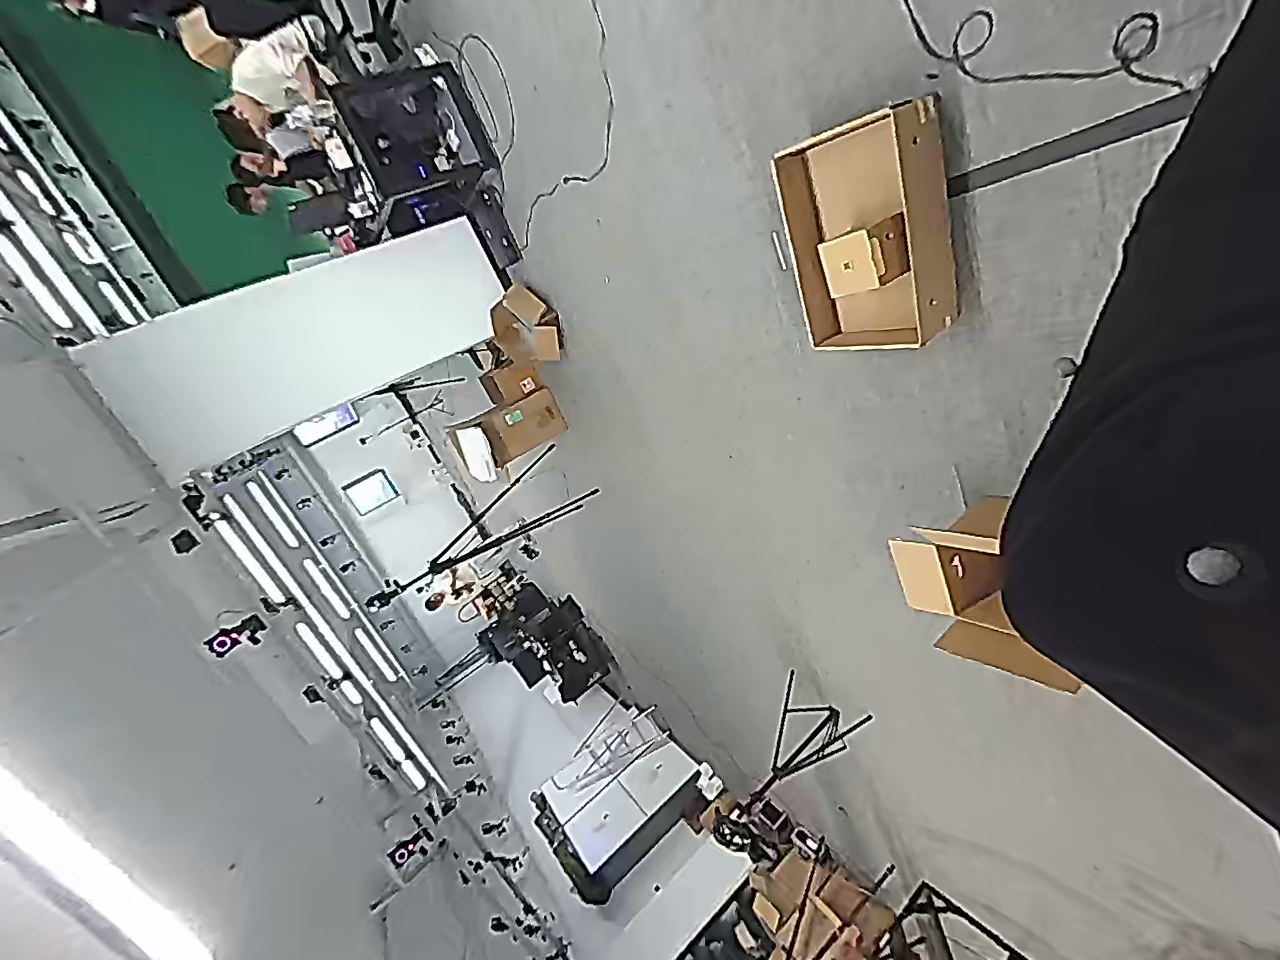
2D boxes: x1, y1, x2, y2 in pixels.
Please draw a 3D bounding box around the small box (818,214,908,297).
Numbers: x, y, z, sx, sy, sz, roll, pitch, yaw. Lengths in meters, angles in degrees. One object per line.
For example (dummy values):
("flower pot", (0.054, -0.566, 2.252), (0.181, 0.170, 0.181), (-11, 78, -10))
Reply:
("small box", (0.663, -0.660, 1.591), (0.179, 0.176, 0.168), (12, 129, 59))
